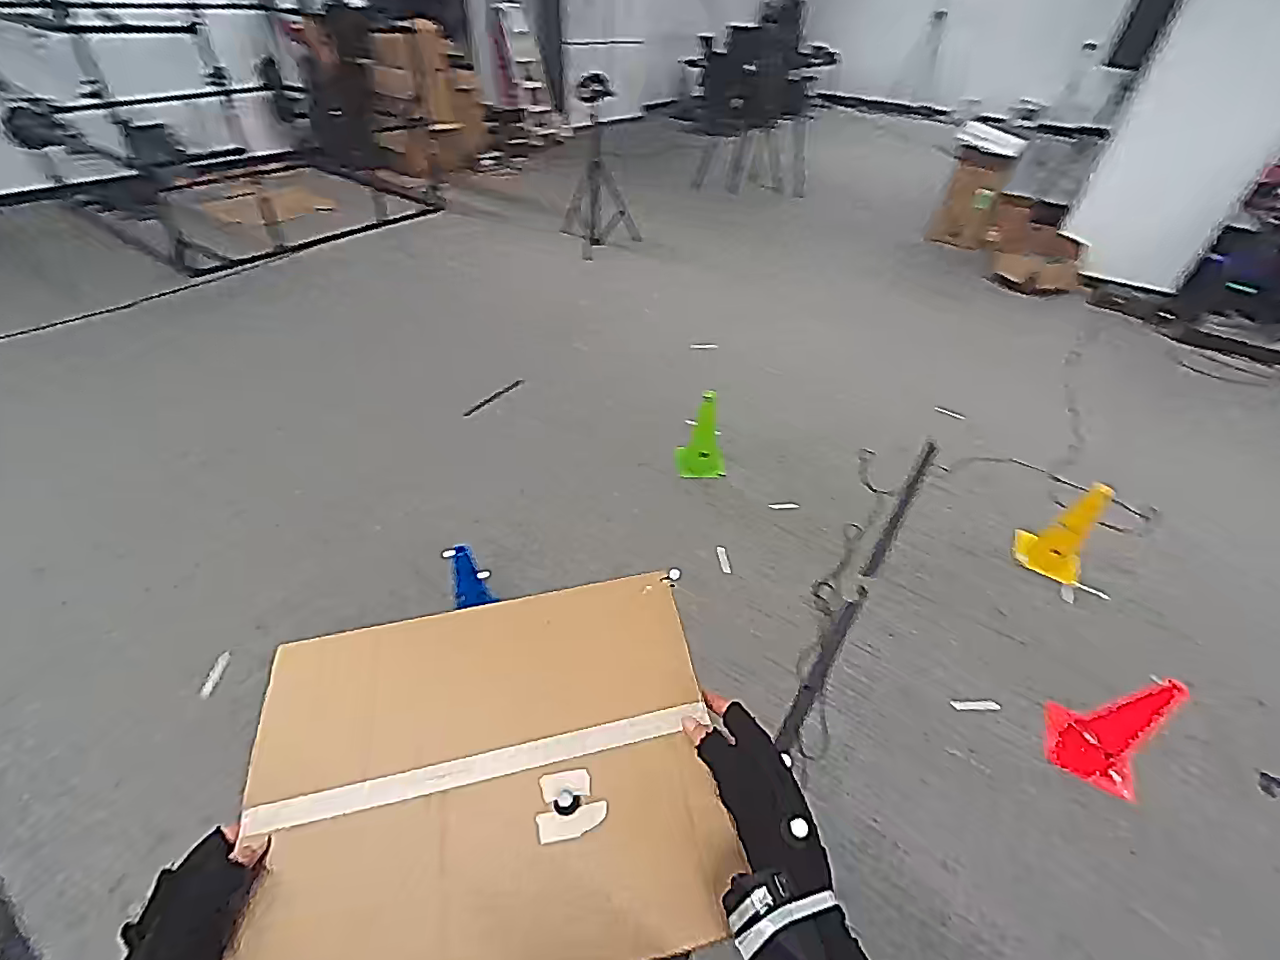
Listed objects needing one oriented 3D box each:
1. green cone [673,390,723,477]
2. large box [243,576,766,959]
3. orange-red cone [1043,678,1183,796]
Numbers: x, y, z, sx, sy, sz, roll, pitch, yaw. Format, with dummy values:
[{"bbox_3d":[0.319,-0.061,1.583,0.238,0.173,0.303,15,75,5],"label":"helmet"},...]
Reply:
[{"bbox_3d":[0.254,-0.210,2.229,0.202,0.368,0.200,-1,41,-3],"label":"green cone"},{"bbox_3d":[-0.123,0.348,0.604,0.408,0.320,0.320,-8,52,-7],"label":"large box"},{"bbox_3d":[1.244,0.613,1.389,0.198,0.360,0.199,25,45,21],"label":"orange-red cone"}]
